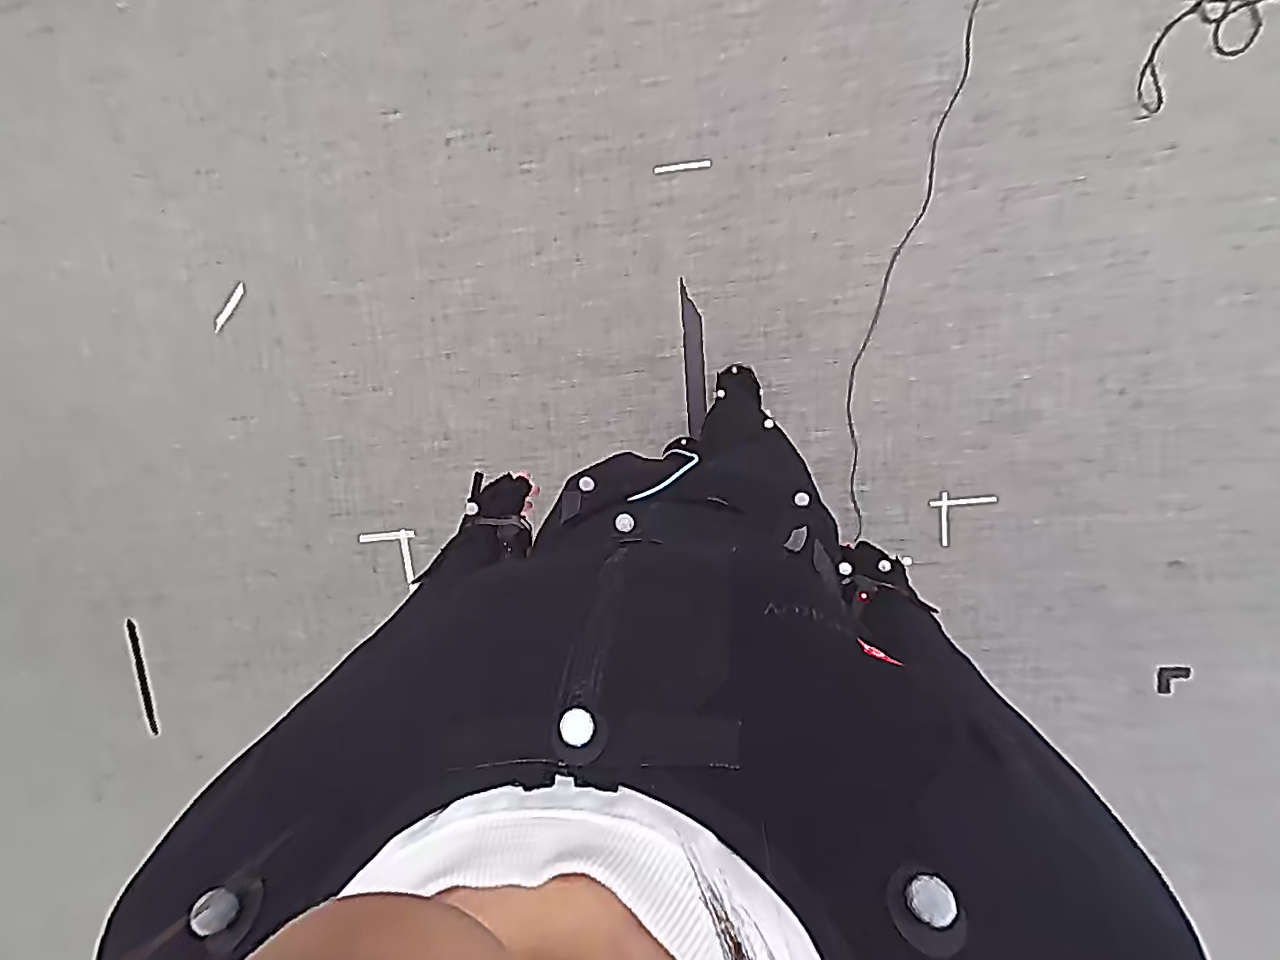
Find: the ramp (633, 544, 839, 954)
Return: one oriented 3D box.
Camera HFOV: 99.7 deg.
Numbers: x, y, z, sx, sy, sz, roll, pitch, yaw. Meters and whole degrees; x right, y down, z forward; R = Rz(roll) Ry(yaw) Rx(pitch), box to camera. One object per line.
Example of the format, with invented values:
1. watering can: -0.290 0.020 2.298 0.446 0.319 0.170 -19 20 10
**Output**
1. ramp: 0.231 0.673 1.403 0.509 0.206 0.991 -4 95 10
